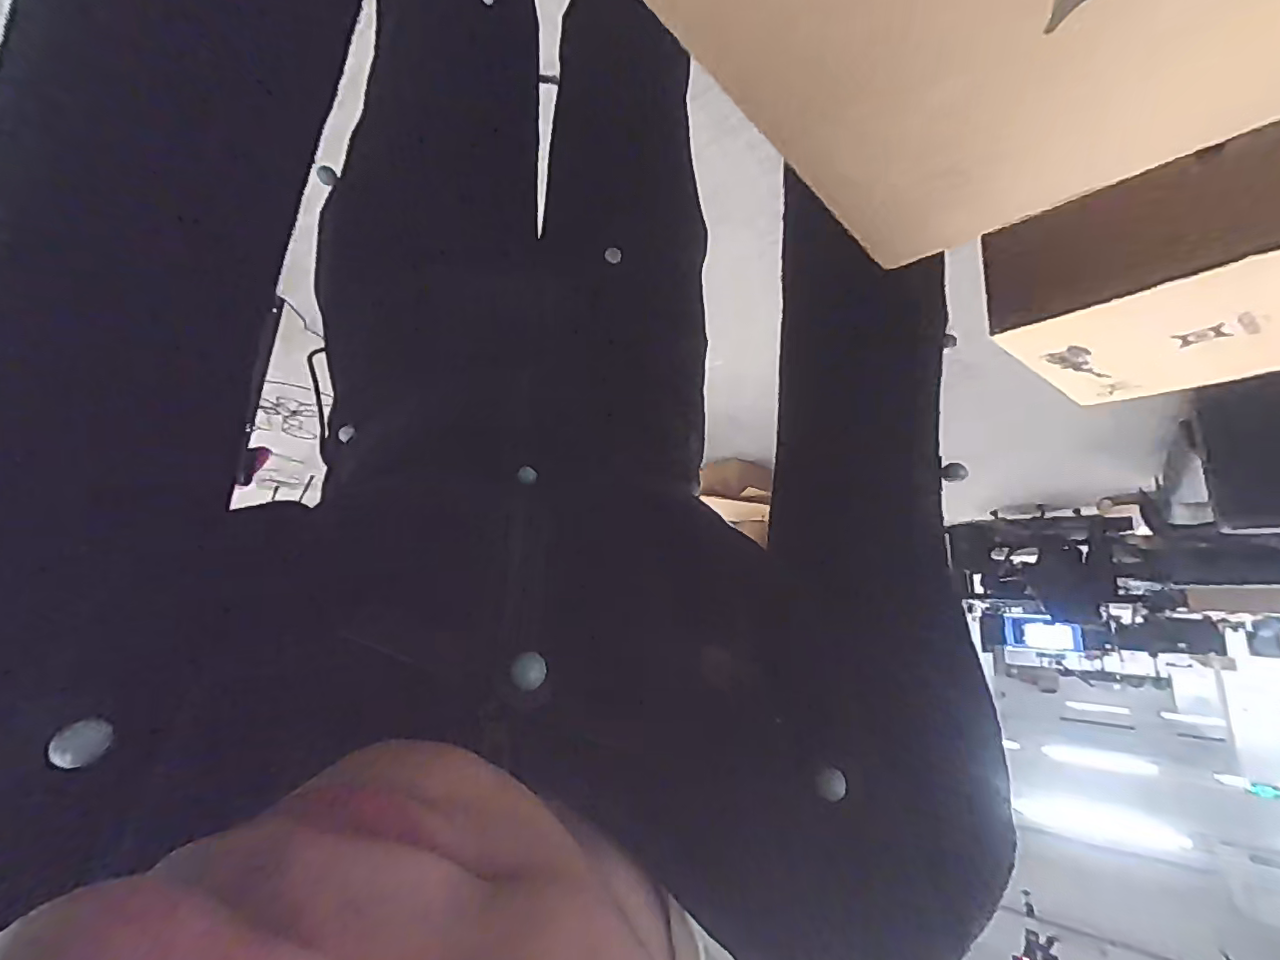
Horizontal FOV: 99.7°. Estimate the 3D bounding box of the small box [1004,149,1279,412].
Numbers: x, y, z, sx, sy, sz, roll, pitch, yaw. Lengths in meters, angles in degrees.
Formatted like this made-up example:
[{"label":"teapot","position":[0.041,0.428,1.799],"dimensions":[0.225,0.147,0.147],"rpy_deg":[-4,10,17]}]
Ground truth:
[{"label":"small box","position":[0.333,-0.158,0.313],"dimensions":[0.168,0.176,0.179],"rpy_deg":[13,163,-34]}]
